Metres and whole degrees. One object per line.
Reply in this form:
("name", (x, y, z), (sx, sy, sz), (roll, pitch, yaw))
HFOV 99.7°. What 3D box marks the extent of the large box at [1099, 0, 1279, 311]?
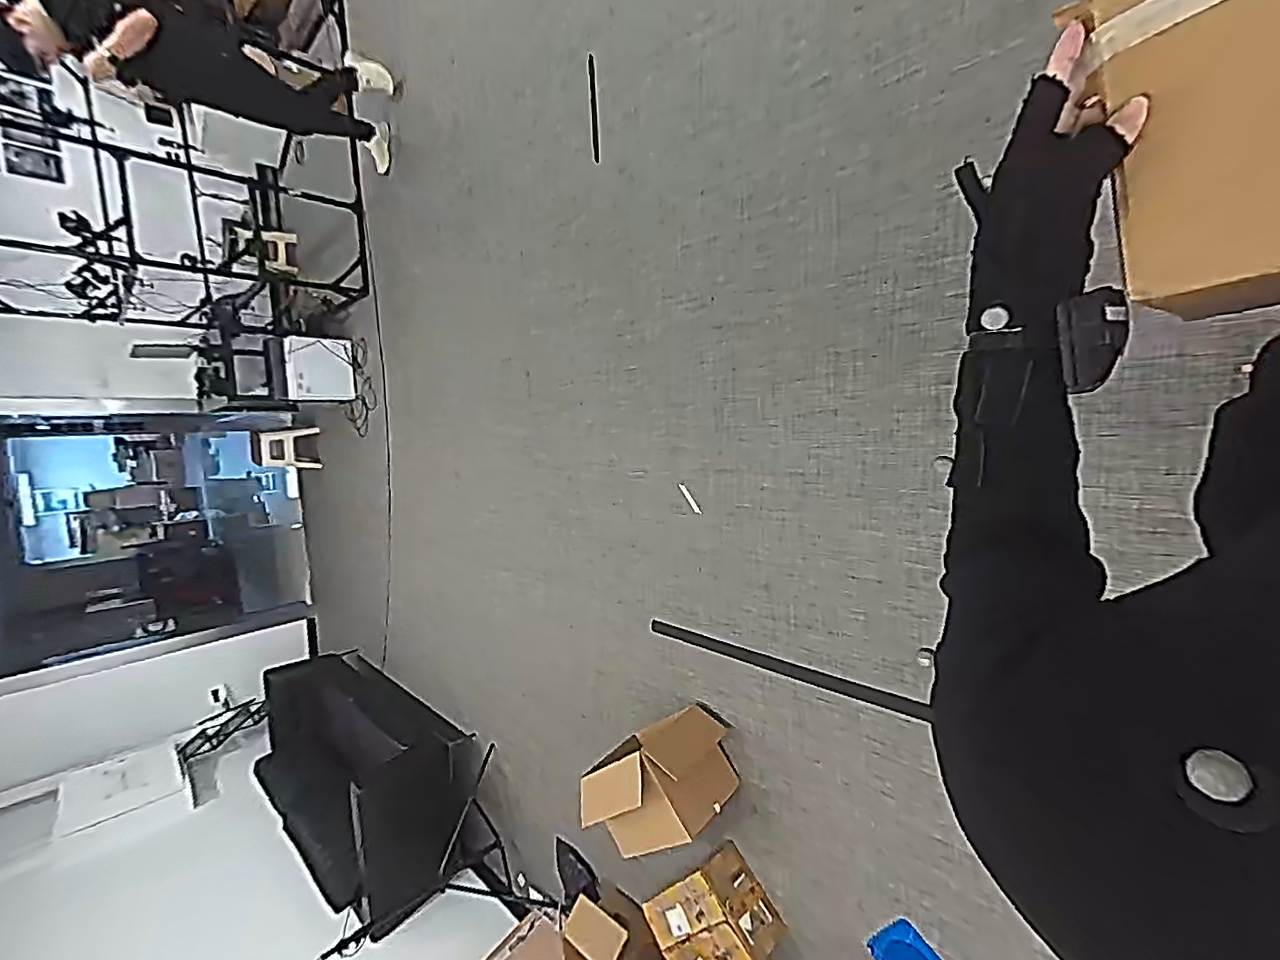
("large box", (0.521, -0.305, 0.275), (0.408, 0.320, 0.320), (-6, 95, 50))
